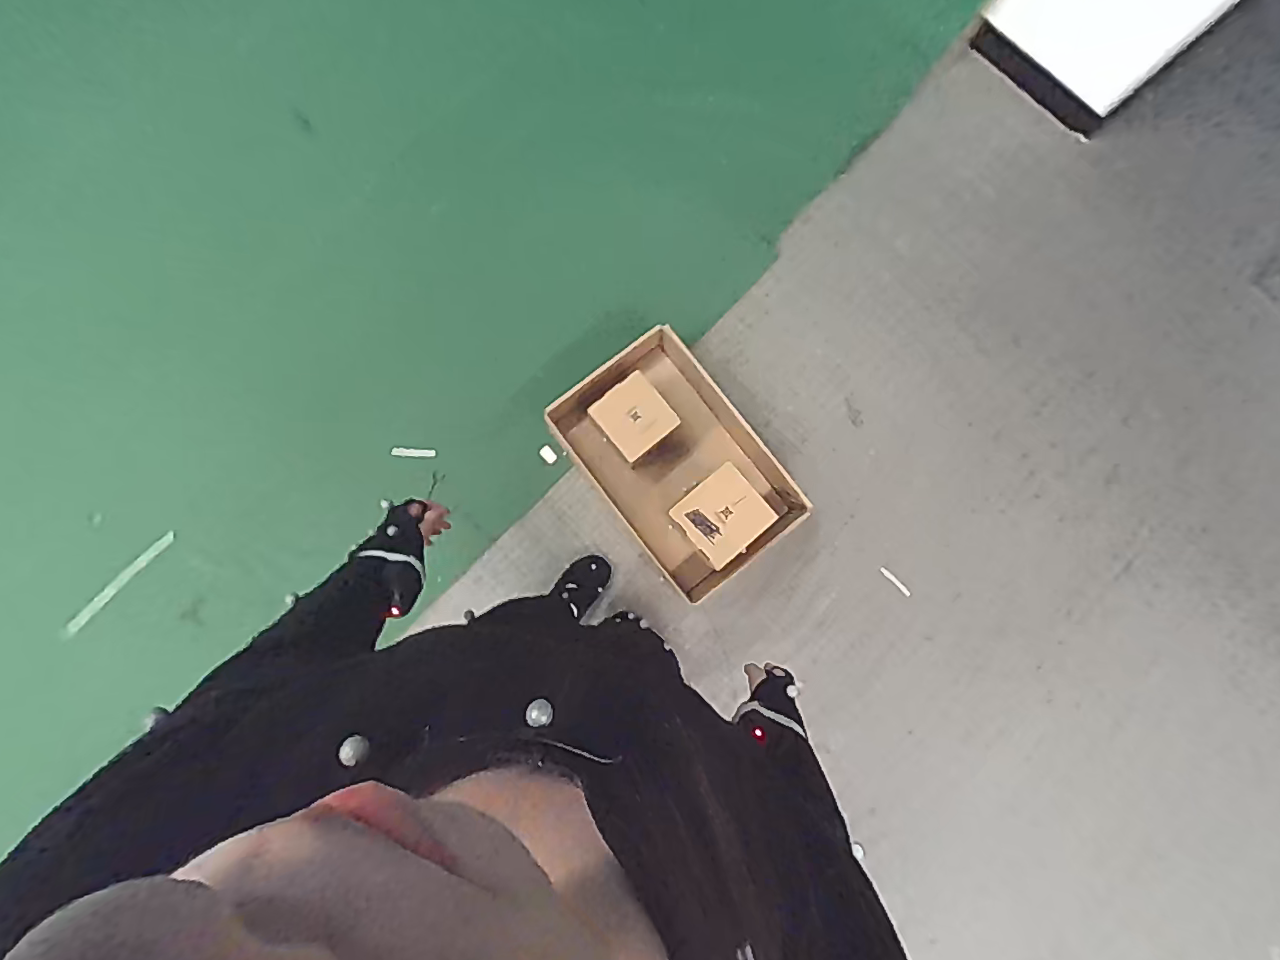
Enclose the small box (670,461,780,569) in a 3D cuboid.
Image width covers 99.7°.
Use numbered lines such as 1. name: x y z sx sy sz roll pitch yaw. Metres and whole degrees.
1. small box: 0.182 0.081 1.221 0.179 0.176 0.168 -39 86 -4
